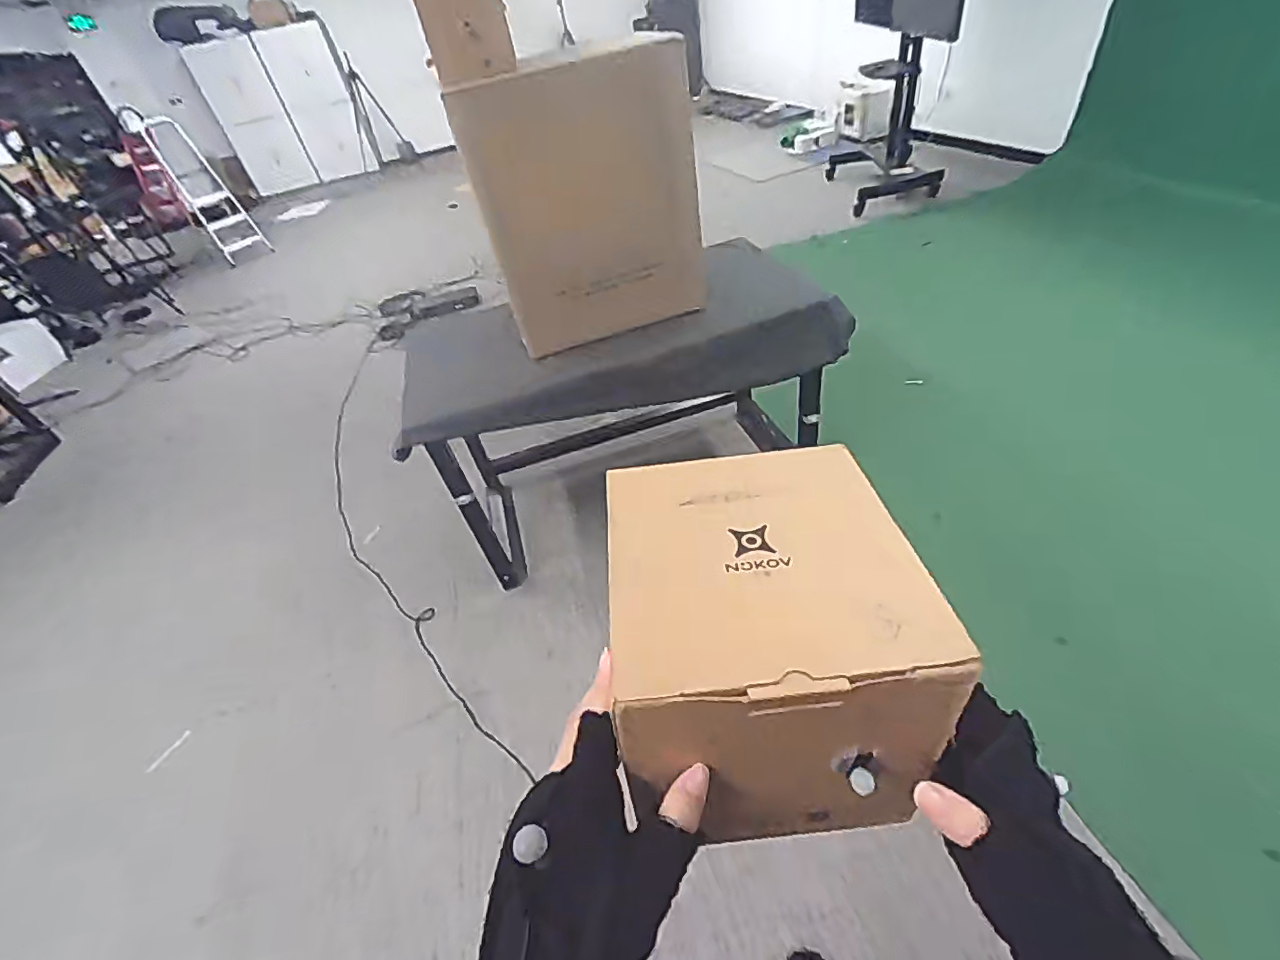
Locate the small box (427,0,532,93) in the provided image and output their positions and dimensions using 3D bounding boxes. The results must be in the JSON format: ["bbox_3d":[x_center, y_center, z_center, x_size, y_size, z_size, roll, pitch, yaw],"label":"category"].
[{"bbox_3d":[-0.334,-0.931,1.129,0.168,0.176,0.179,-18,44,-6],"label":"small box"}]

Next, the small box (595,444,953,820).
[{"bbox_3d":[0.065,0.099,0.356,0.168,0.176,0.179,-5,36,1],"label":"small box"}]
